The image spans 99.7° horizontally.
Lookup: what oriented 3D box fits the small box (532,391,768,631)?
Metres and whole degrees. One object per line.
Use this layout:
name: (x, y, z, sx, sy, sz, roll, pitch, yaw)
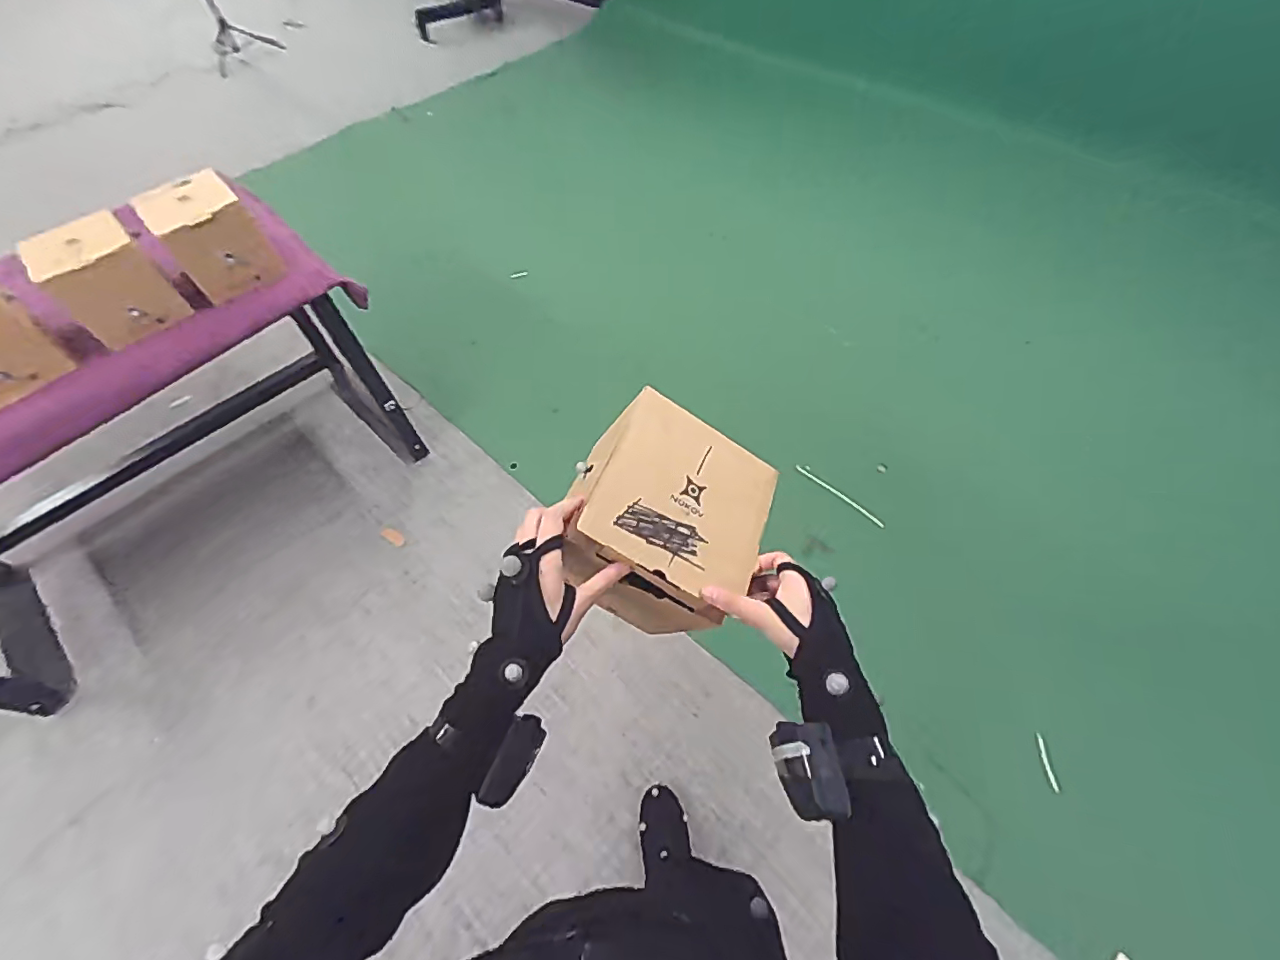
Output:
small box: (0.001, 0.047, 0.570, 0.168, 0.176, 0.179, 31, 63, -11)
